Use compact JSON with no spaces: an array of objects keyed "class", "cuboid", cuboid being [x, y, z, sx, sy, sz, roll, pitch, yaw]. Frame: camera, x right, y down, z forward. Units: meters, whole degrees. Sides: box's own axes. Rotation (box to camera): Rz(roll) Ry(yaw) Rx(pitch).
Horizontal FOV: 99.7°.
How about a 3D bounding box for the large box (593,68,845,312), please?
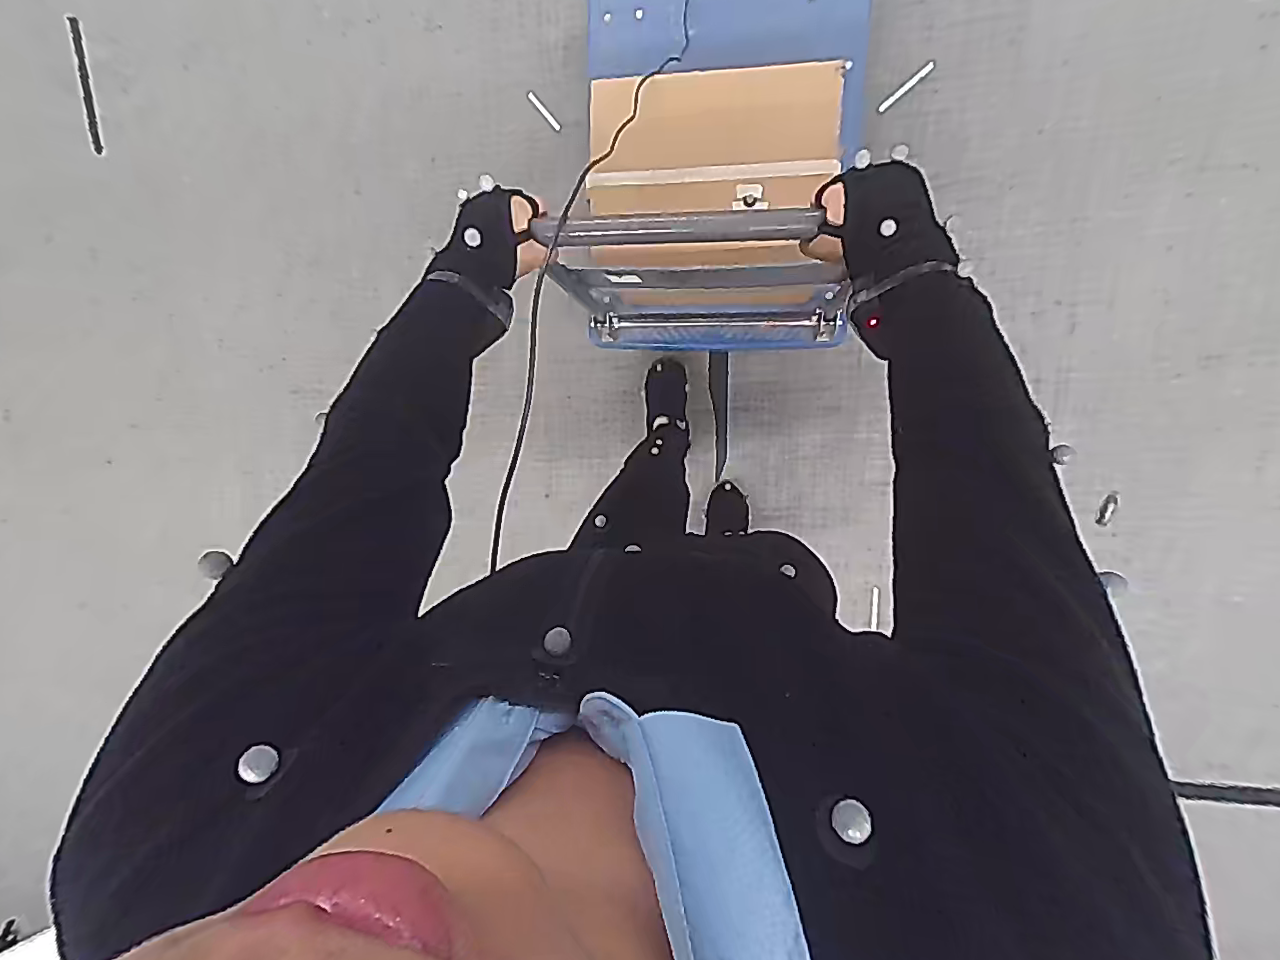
[{"class":"large box","cuboid":[0.139,-0.505,1.023,0.408,0.320,0.320,2,99,9]}]
